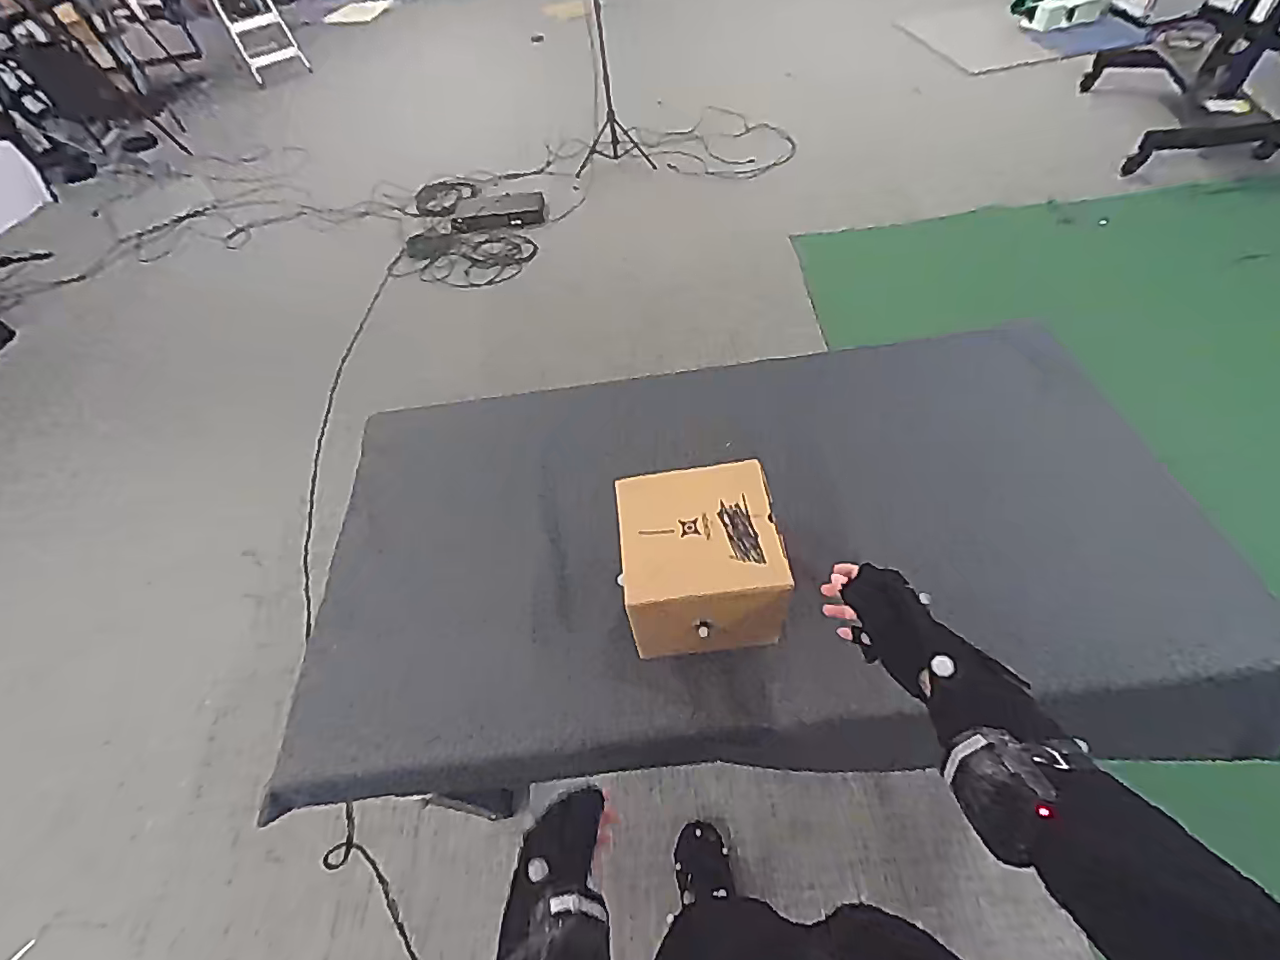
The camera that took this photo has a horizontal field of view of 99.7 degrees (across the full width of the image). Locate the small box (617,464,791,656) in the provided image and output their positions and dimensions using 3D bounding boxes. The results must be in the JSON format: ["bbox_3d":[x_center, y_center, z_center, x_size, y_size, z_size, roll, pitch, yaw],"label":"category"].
[{"bbox_3d":[0.072,0.104,0.666,0.179,0.176,0.168,-8,53,3],"label":"small box"}]
